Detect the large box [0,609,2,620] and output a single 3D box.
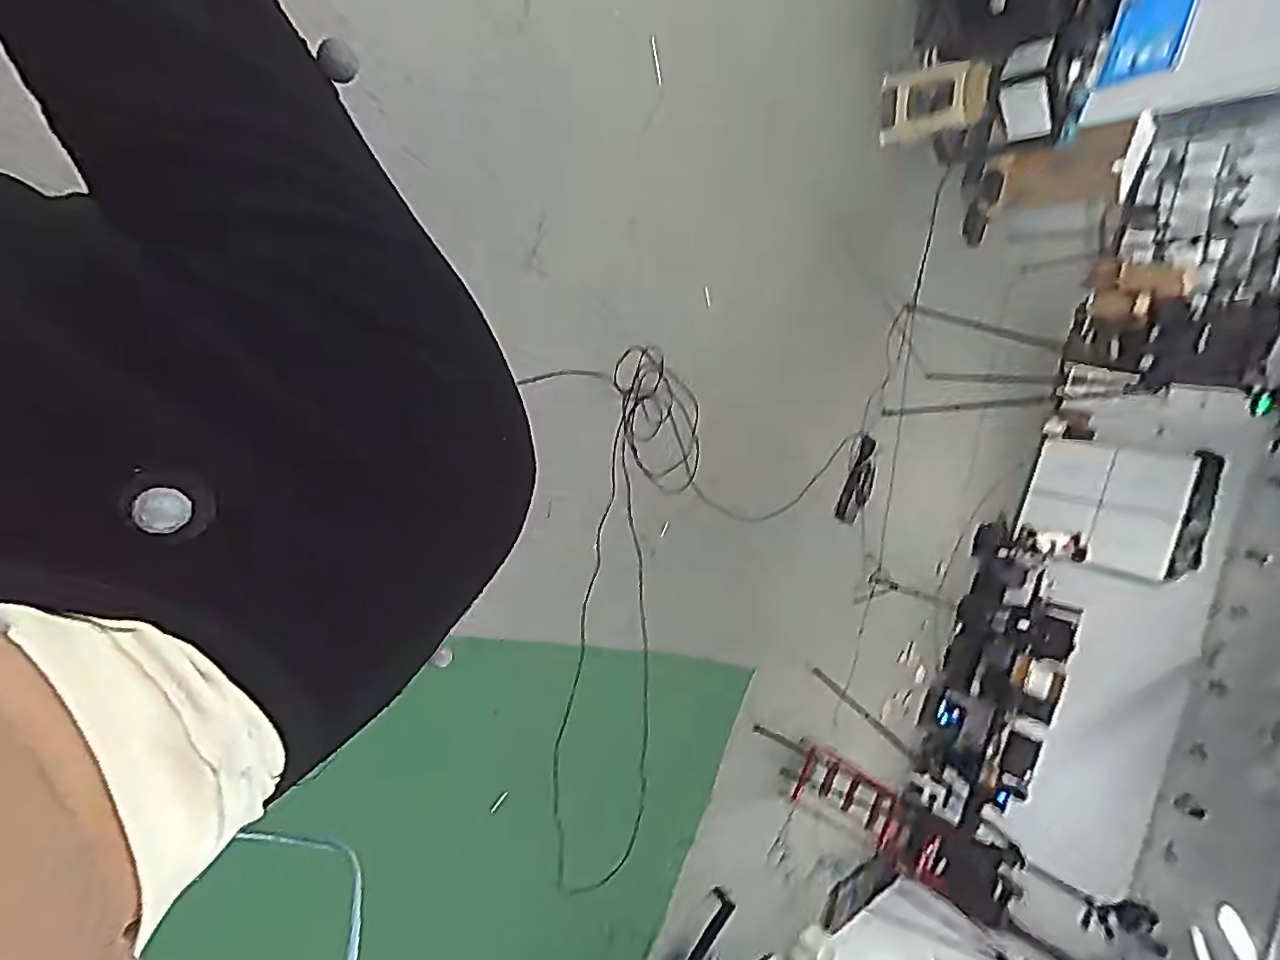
[{"bbox_3d":[-1.246,0.415,0.794,0.320,0.320,0.408,24,86,-46],"label":"large box"}]
